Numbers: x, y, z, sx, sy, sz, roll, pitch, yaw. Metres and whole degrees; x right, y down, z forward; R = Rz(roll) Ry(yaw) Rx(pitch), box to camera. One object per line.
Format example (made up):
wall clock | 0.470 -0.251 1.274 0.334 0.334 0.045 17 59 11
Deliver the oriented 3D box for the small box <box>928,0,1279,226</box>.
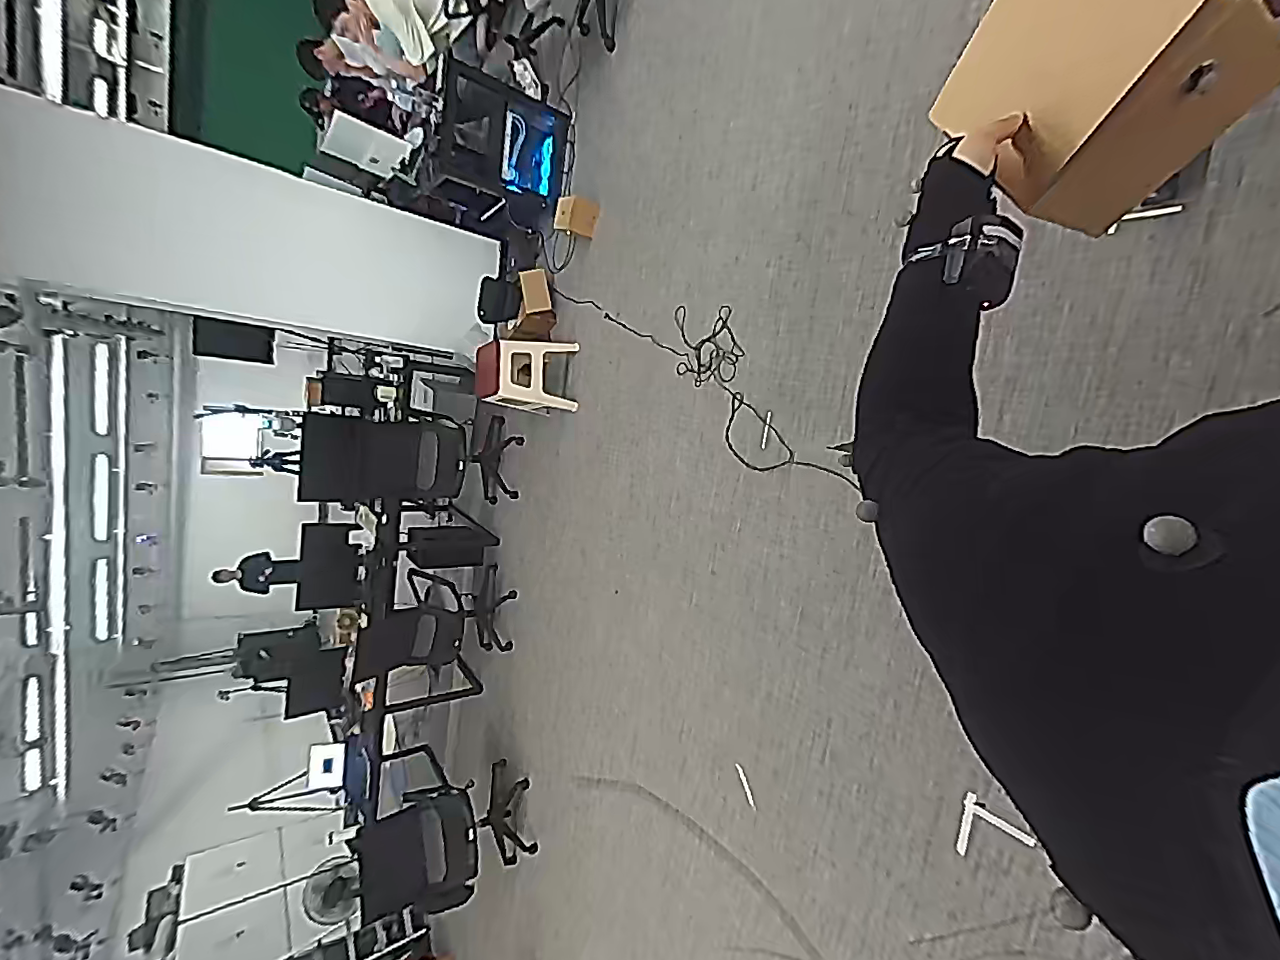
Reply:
small box | 0.431 -0.375 0.512 0.179 0.176 0.168 -53 50 48
